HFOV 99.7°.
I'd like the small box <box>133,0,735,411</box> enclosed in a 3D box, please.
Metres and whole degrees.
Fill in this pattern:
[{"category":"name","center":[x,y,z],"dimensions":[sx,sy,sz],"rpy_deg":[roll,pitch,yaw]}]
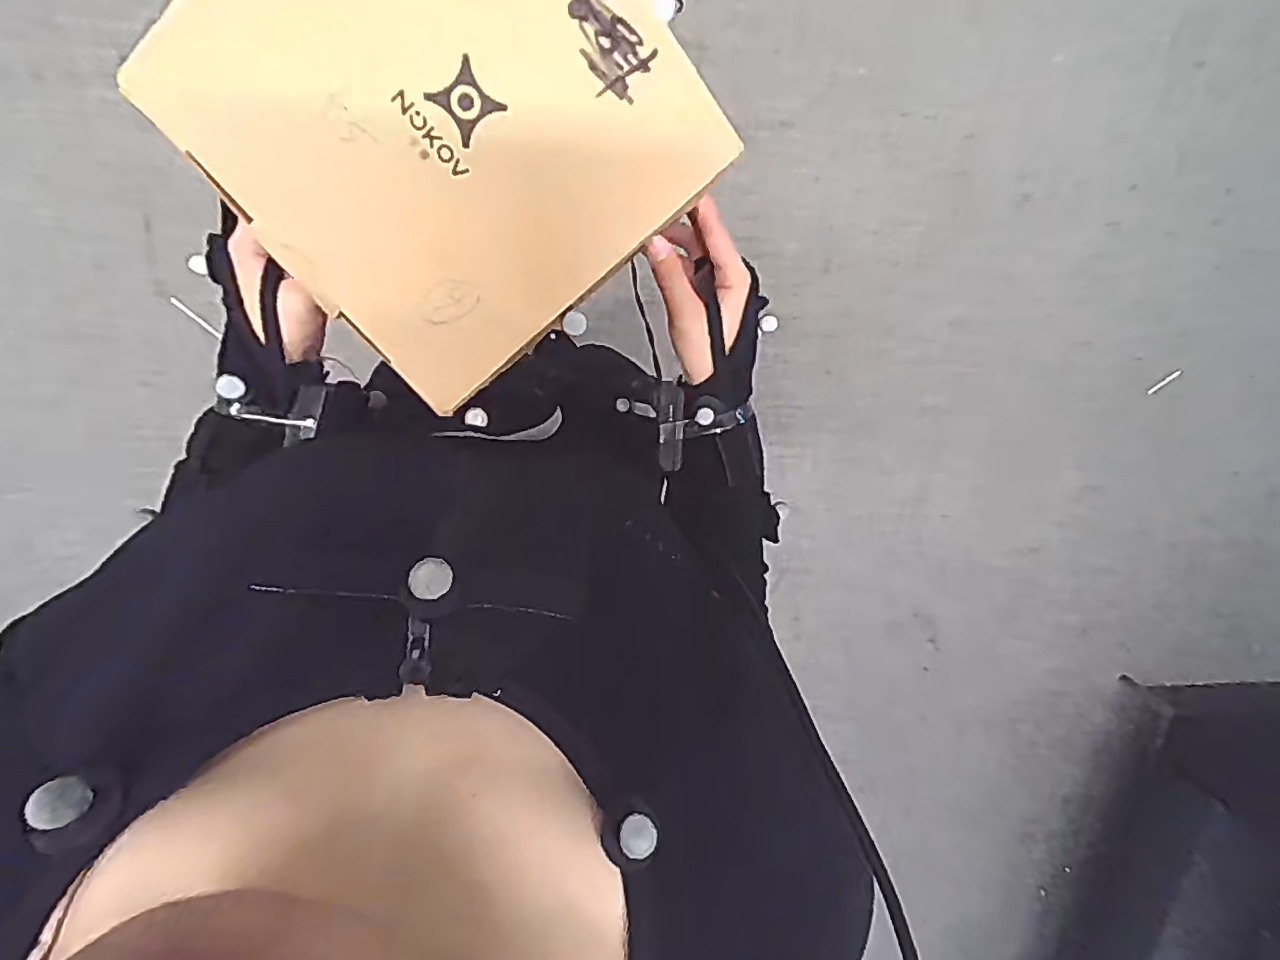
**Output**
[{"category":"small box","center":[-0.080,-0.164,0.288],"dimensions":[0.179,0.176,0.168],"rpy_deg":[-38,107,8]}]
